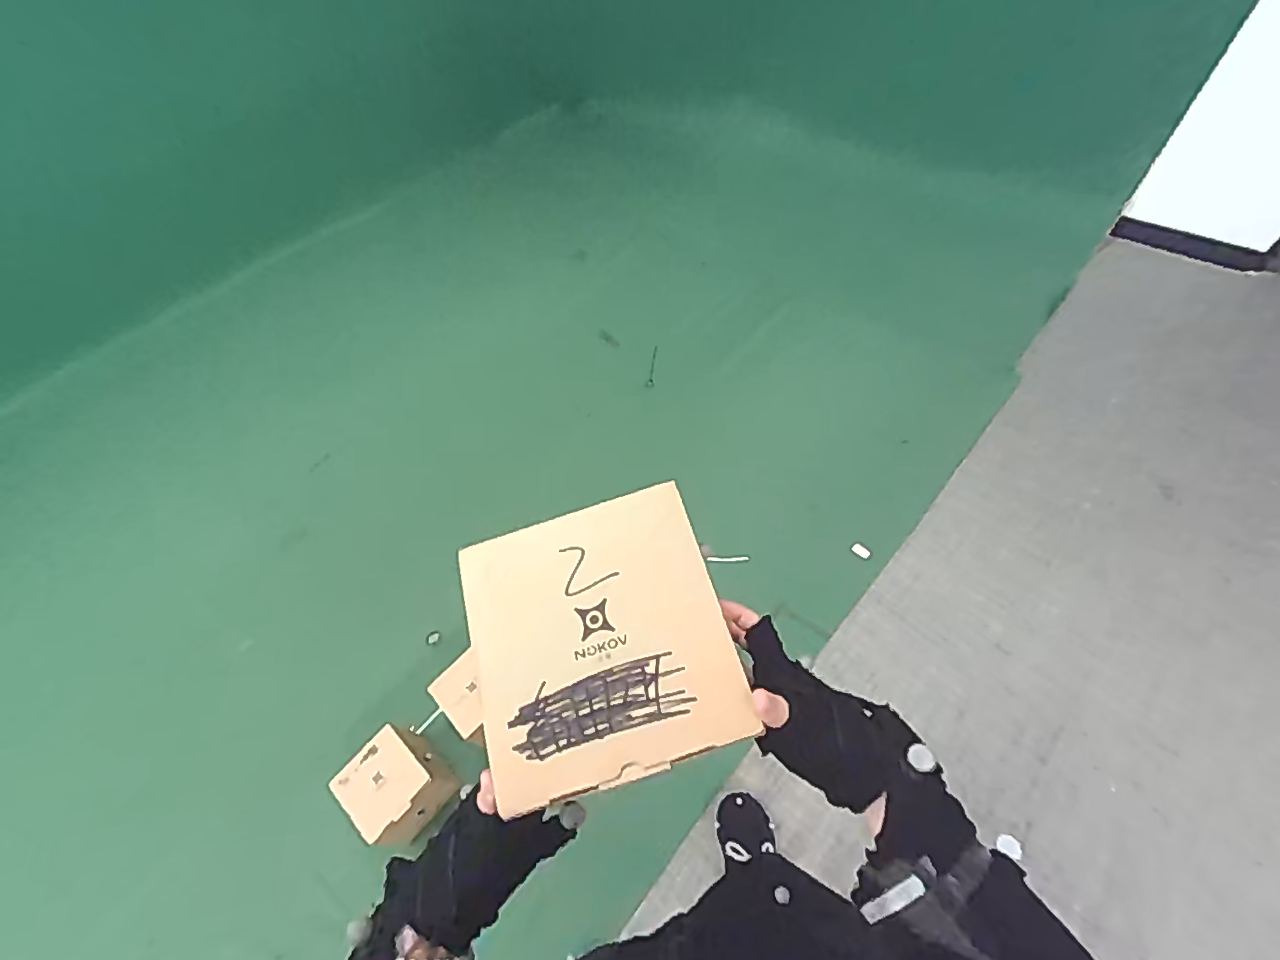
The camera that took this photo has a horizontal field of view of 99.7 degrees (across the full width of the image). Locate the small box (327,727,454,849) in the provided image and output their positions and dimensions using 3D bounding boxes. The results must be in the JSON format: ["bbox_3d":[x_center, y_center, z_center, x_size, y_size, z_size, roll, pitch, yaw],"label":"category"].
[{"bbox_3d":[-0.563,0.704,1.243,0.179,0.176,0.168,34,67,24],"label":"small box"}]

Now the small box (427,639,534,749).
[{"bbox_3d":[-0.382,0.530,1.334,0.168,0.176,0.179,38,69,27],"label":"small box"}]
